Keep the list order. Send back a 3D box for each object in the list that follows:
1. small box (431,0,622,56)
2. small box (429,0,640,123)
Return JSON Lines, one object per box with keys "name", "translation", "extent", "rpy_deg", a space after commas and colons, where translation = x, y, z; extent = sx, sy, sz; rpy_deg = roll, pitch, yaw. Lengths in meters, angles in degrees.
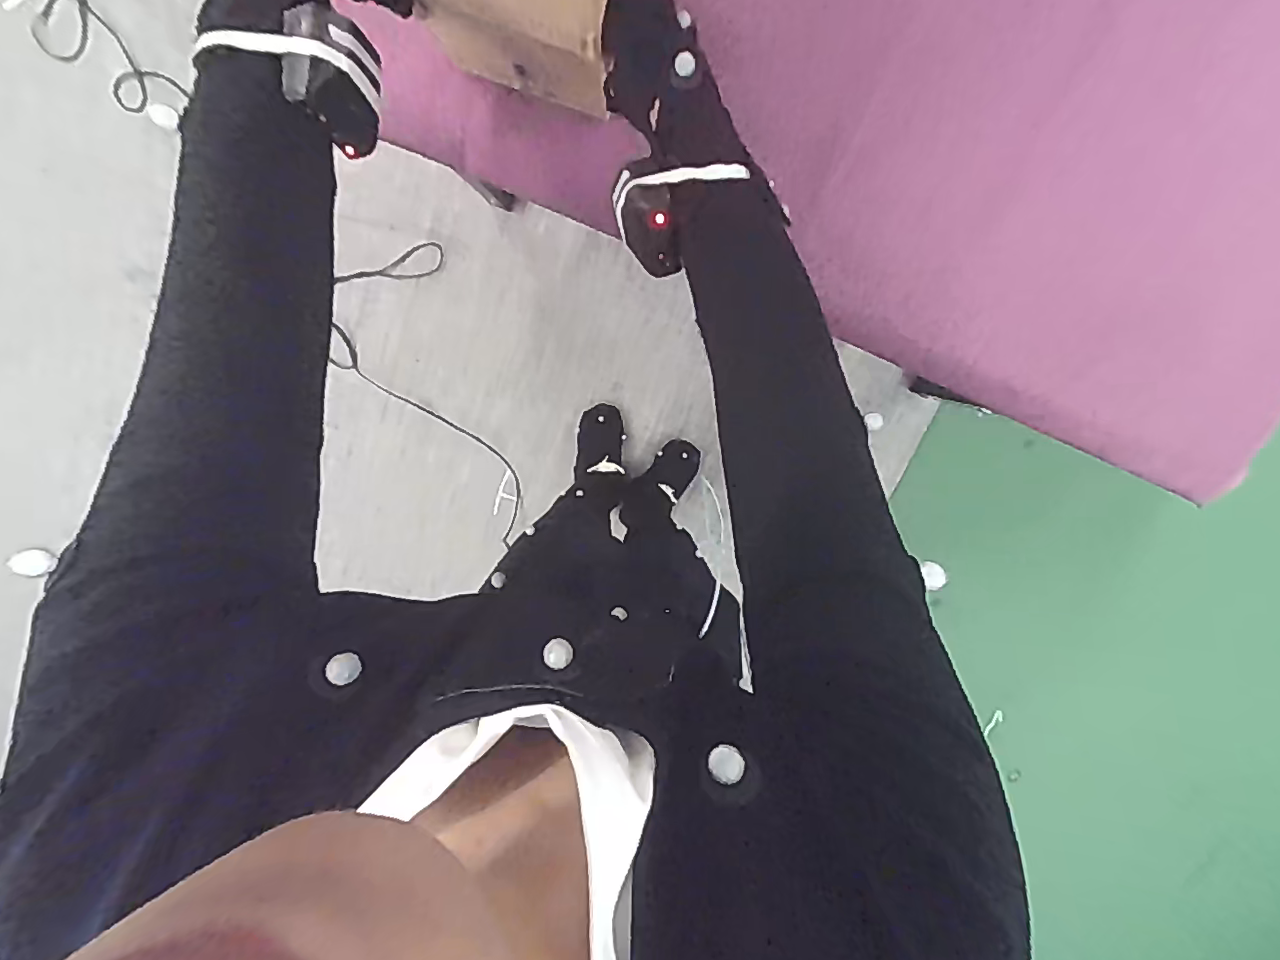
{"name": "small box", "translation": [-0.079, -0.399, 0.320], "extent": [0.179, 0.176, 0.168], "rpy_deg": [17, 104, -7]}
{"name": "small box", "translation": [-0.084, -0.460, 0.472], "extent": [0.168, 0.176, 0.179], "rpy_deg": [16, 104, -7]}
